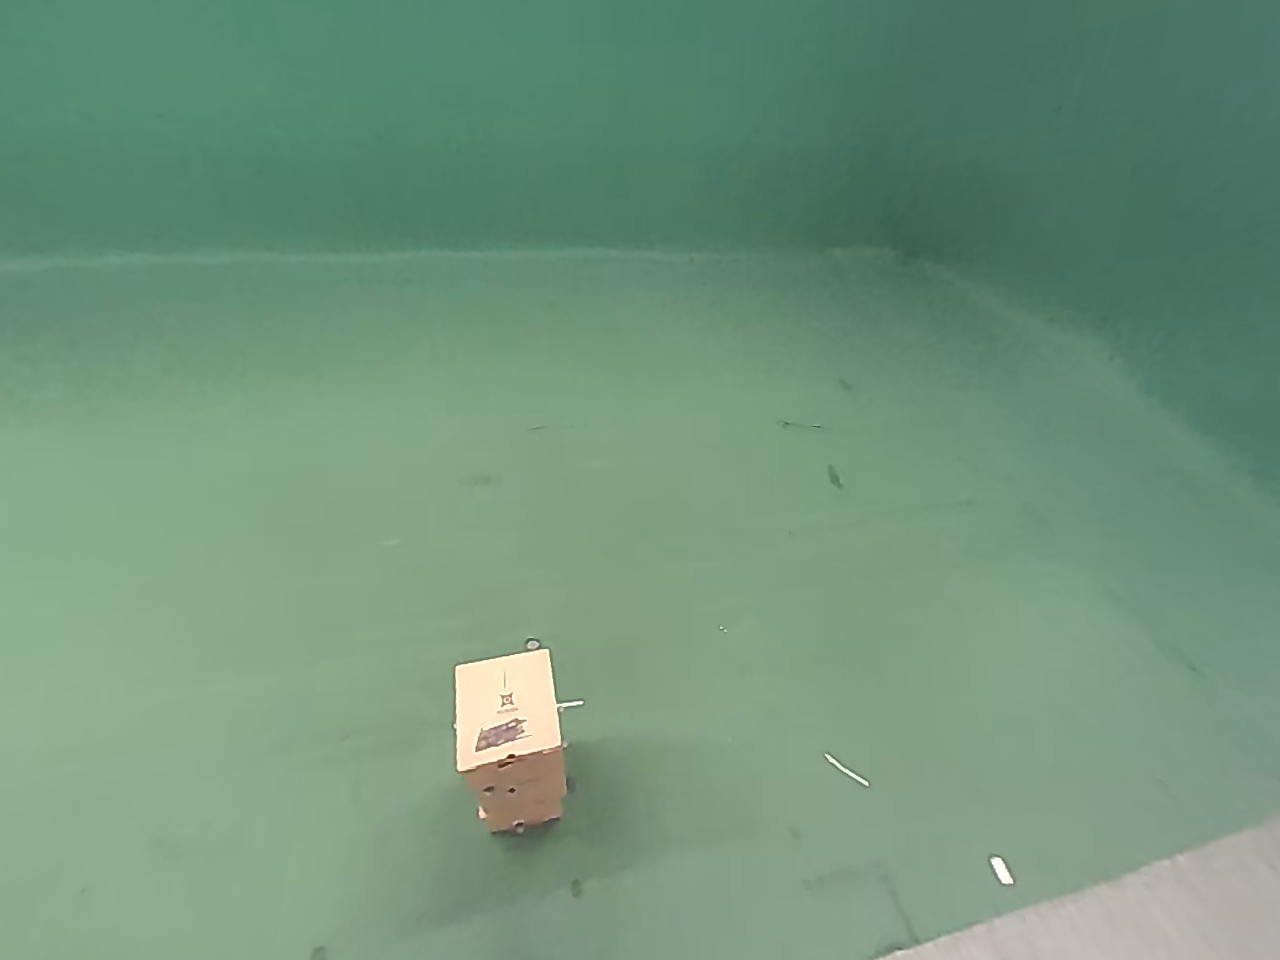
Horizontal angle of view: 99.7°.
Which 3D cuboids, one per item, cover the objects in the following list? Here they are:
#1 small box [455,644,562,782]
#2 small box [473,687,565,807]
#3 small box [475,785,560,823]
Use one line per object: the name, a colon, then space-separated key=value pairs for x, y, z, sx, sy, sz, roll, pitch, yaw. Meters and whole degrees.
small box: x=-0.233 y=0.424 z=0.973 sx=0.168 sy=0.176 sz=0.179 roll=-7 pitch=49 yaw=-13
small box: x=-0.246 y=0.532 z=1.097 sx=0.168 sy=0.176 sz=0.179 roll=-7 pitch=49 yaw=-13
small box: x=-0.268 y=0.633 z=1.199 sx=0.168 sy=0.176 sz=0.179 roll=-6 pitch=50 yaw=-10
